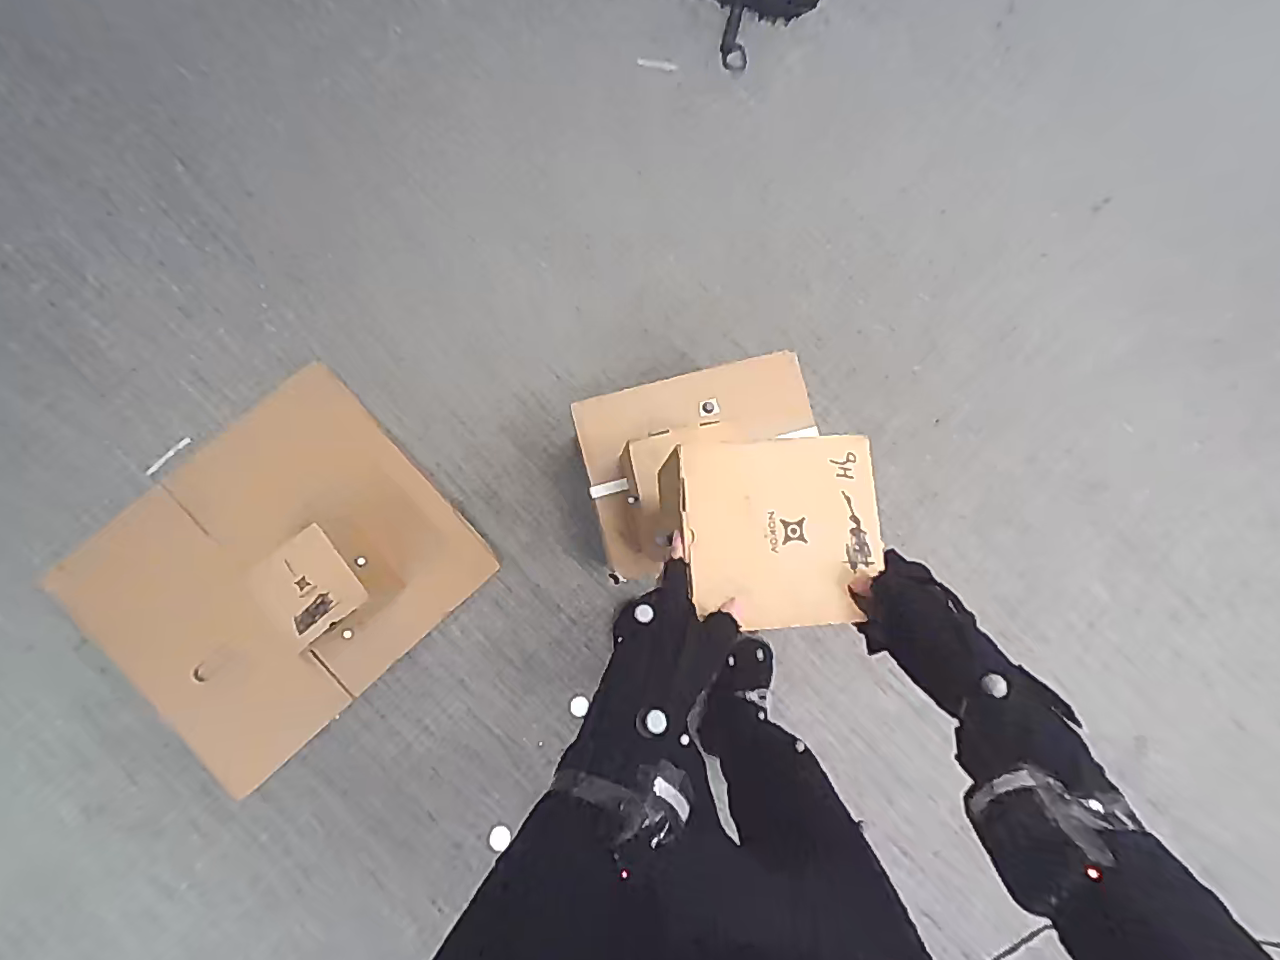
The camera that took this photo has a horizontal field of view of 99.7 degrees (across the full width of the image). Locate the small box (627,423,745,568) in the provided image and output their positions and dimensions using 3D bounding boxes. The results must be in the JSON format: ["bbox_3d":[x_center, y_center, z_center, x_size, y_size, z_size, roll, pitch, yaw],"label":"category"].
[{"bbox_3d":[0.078,0.027,0.829,0.168,0.176,0.179,-13,87,-4],"label":"small box"}]

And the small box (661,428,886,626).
[{"bbox_3d":[0.118,0.055,0.561,0.179,0.176,0.168,-6,80,-5],"label":"small box"}]

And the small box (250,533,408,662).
[{"bbox_3d":[-0.590,0.218,1.053,0.168,0.176,0.179,-38,86,-6],"label":"small box"}]
